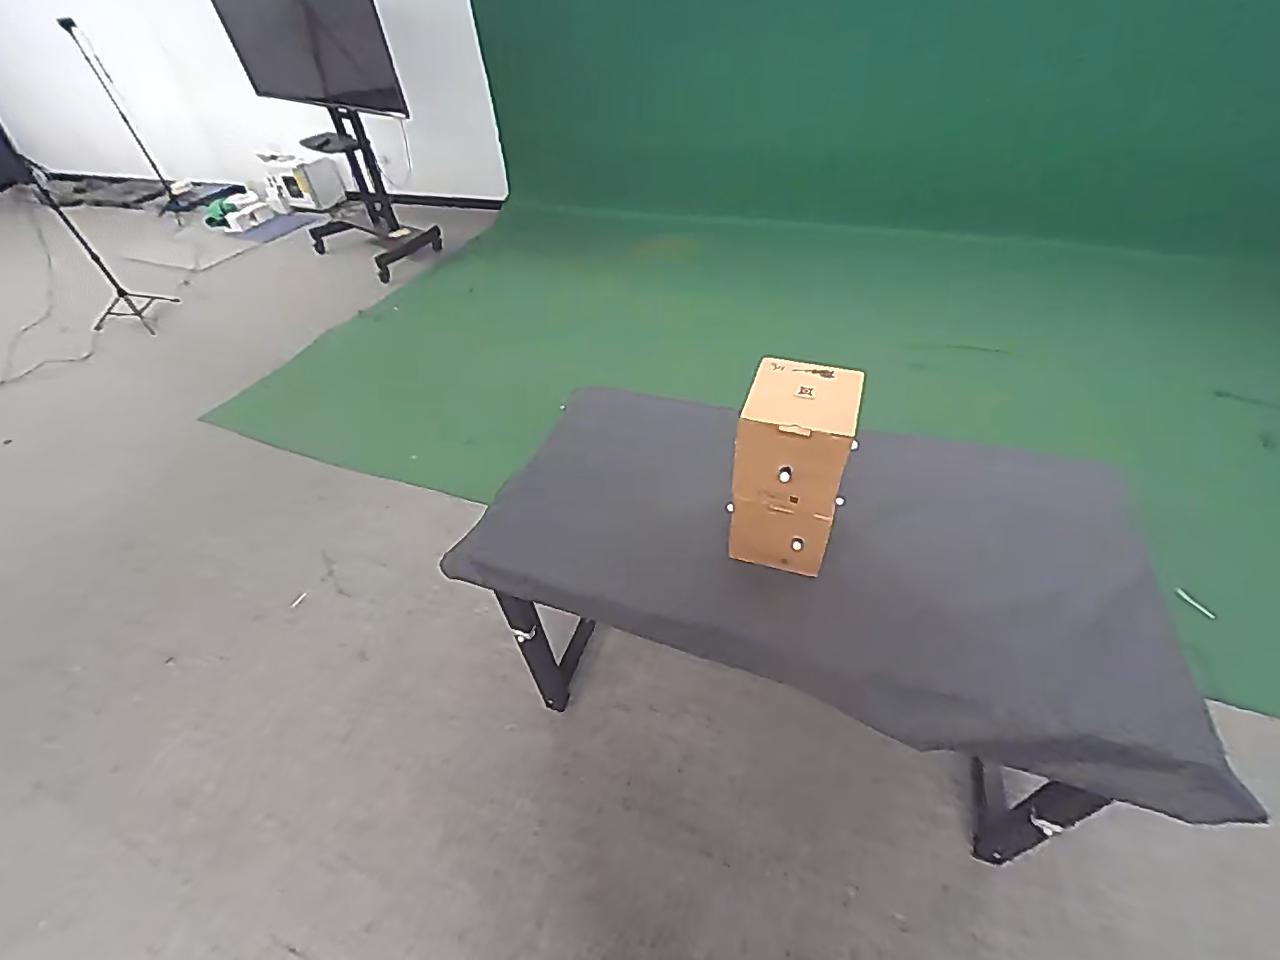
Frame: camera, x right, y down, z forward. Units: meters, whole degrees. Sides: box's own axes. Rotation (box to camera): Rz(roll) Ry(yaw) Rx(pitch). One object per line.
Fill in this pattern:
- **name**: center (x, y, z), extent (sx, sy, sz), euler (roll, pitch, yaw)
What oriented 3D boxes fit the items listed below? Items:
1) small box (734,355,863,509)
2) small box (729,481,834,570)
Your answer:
- **small box**: center (0.257, -0.078, 0.897), extent (0.168, 0.176, 0.179), euler (14, 49, 16)
- **small box**: center (0.266, 0.041, 1.009), extent (0.168, 0.176, 0.179), euler (13, 47, 15)
